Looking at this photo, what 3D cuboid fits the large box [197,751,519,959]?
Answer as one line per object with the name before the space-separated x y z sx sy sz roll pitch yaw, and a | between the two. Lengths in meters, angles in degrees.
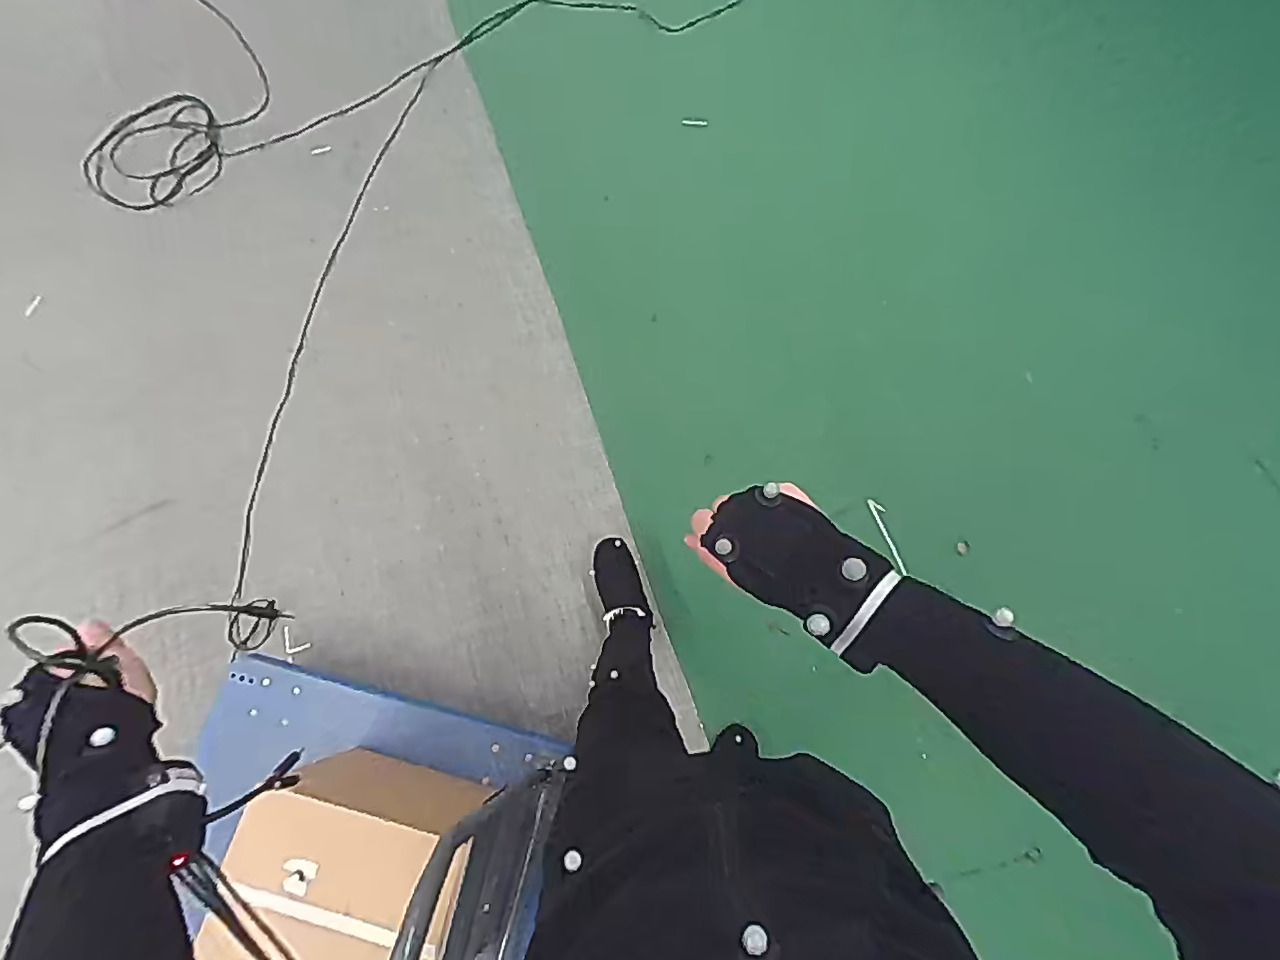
large box | -0.494 0.755 1.029 0.408 0.320 0.320 12 74 7
